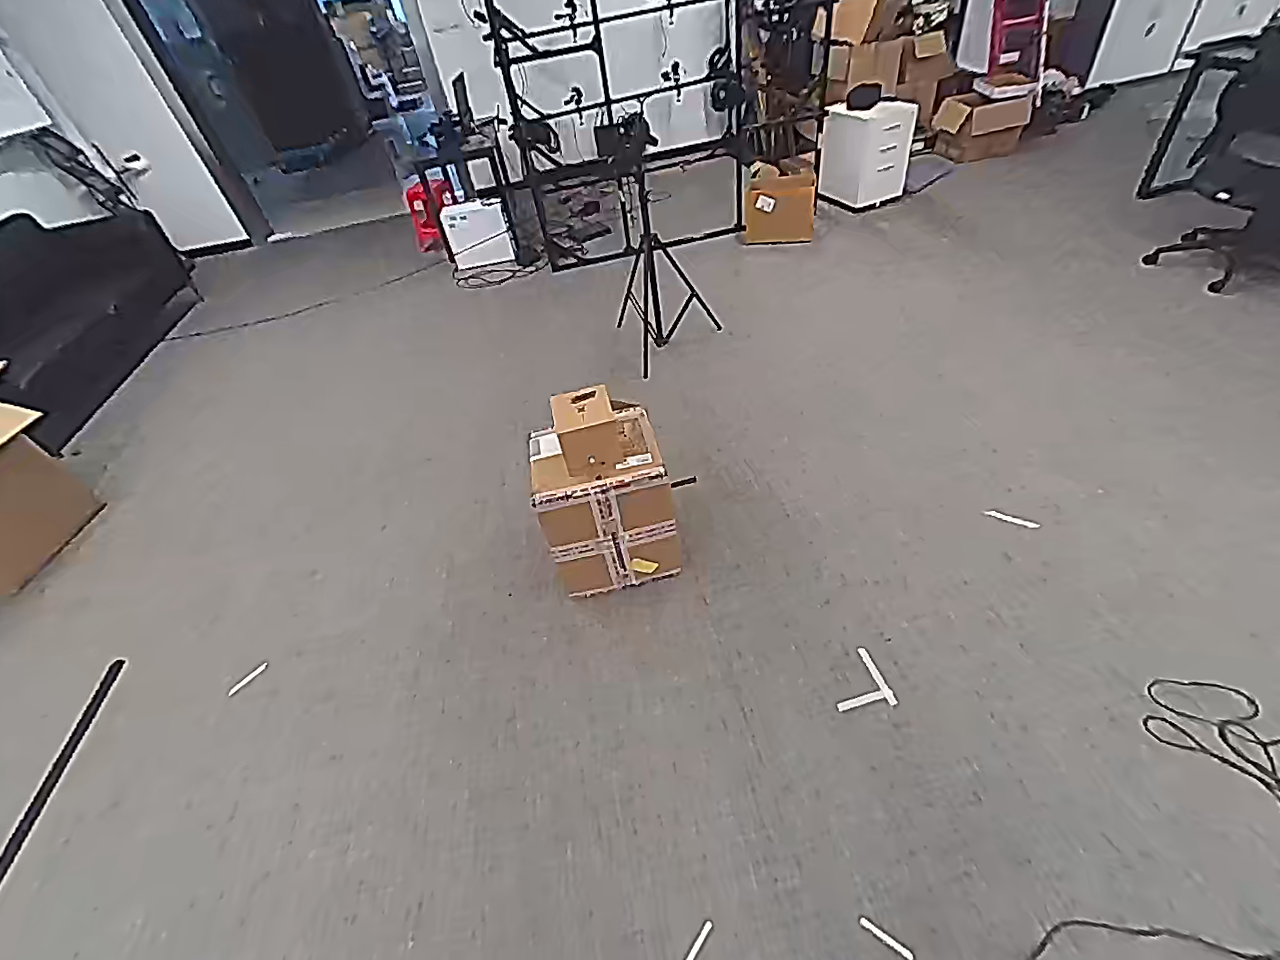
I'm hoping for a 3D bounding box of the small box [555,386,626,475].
[{"bbox_3d":[-0.145,-0.142,1.573,0.168,0.176,0.179,-14,46,-3],"label":"small box"}]
